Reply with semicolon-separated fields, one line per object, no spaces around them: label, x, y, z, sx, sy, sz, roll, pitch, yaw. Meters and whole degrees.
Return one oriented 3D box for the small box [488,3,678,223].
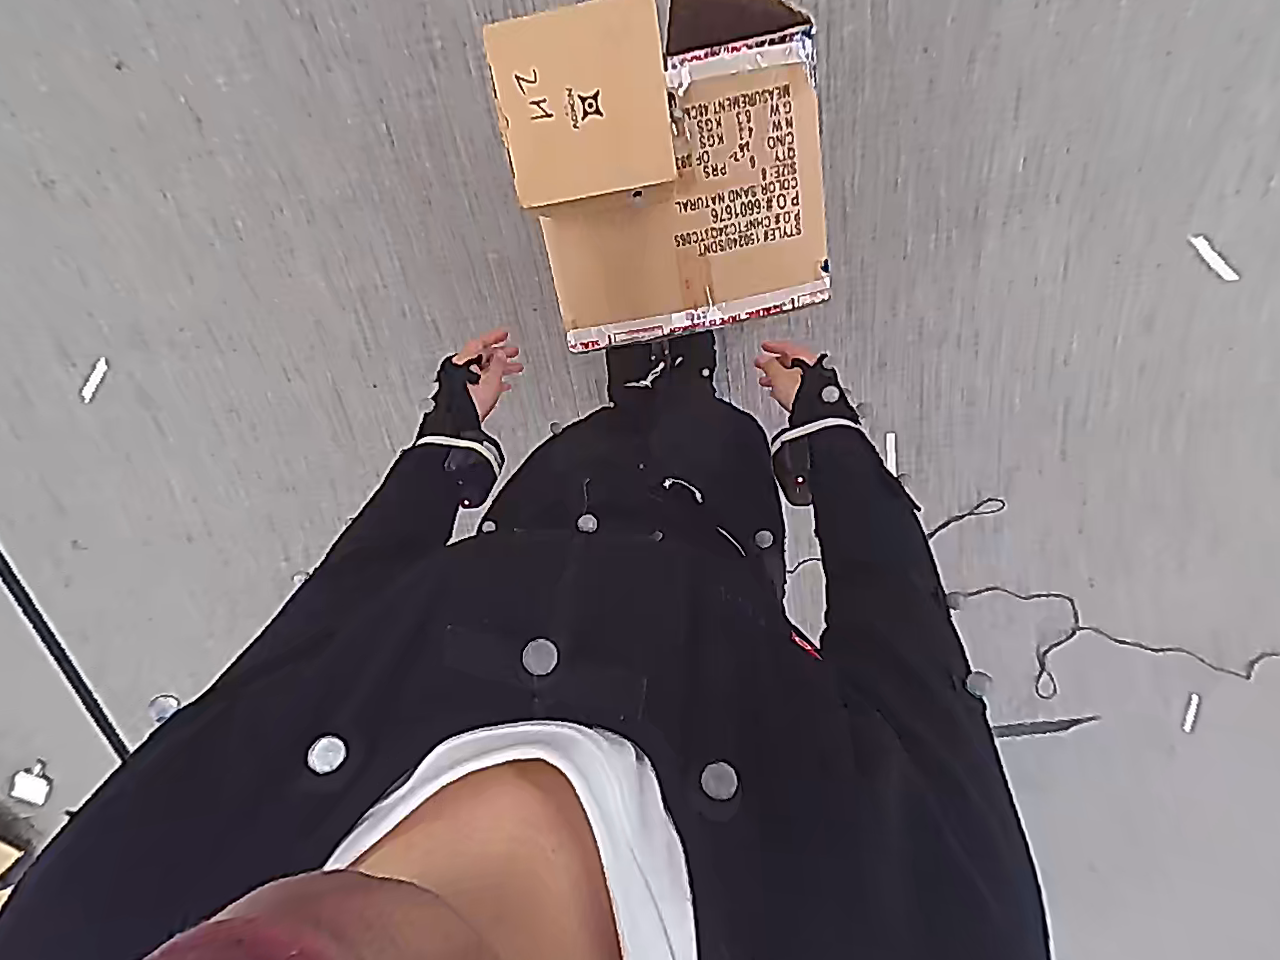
small box;-0.053;-0.408;0.633;0.179;0.176;0.168;-7;111;6
